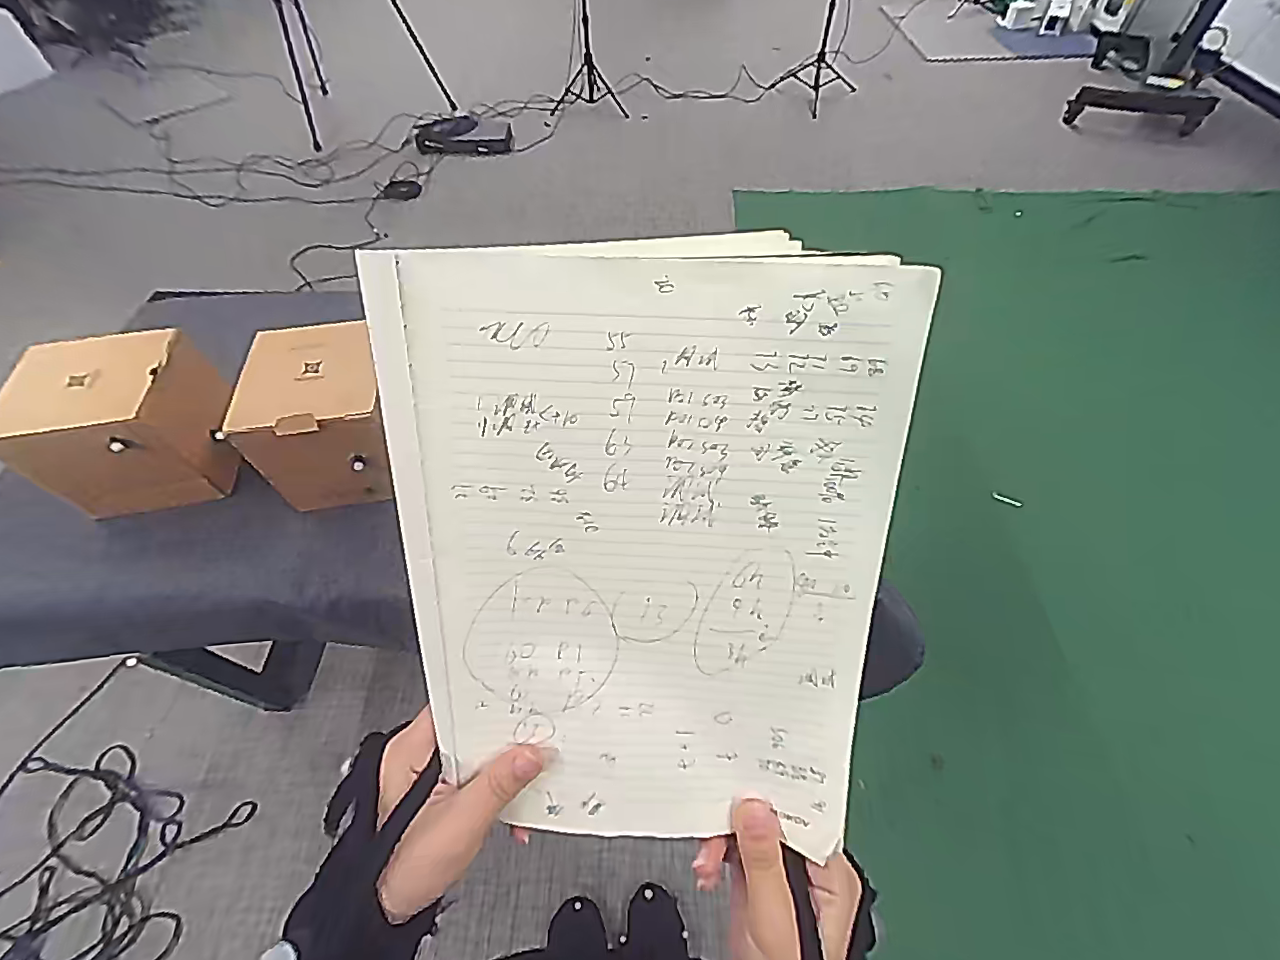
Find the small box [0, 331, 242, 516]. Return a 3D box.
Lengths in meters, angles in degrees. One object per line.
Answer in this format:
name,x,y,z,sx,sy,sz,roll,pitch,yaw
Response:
small box,-0.667,-0.069,0.715,0.179,0.176,0.168,-10,54,-7

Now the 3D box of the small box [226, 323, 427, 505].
small box,-0.394,-0.080,0.719,0.168,0.176,0.179,-8,53,-6
